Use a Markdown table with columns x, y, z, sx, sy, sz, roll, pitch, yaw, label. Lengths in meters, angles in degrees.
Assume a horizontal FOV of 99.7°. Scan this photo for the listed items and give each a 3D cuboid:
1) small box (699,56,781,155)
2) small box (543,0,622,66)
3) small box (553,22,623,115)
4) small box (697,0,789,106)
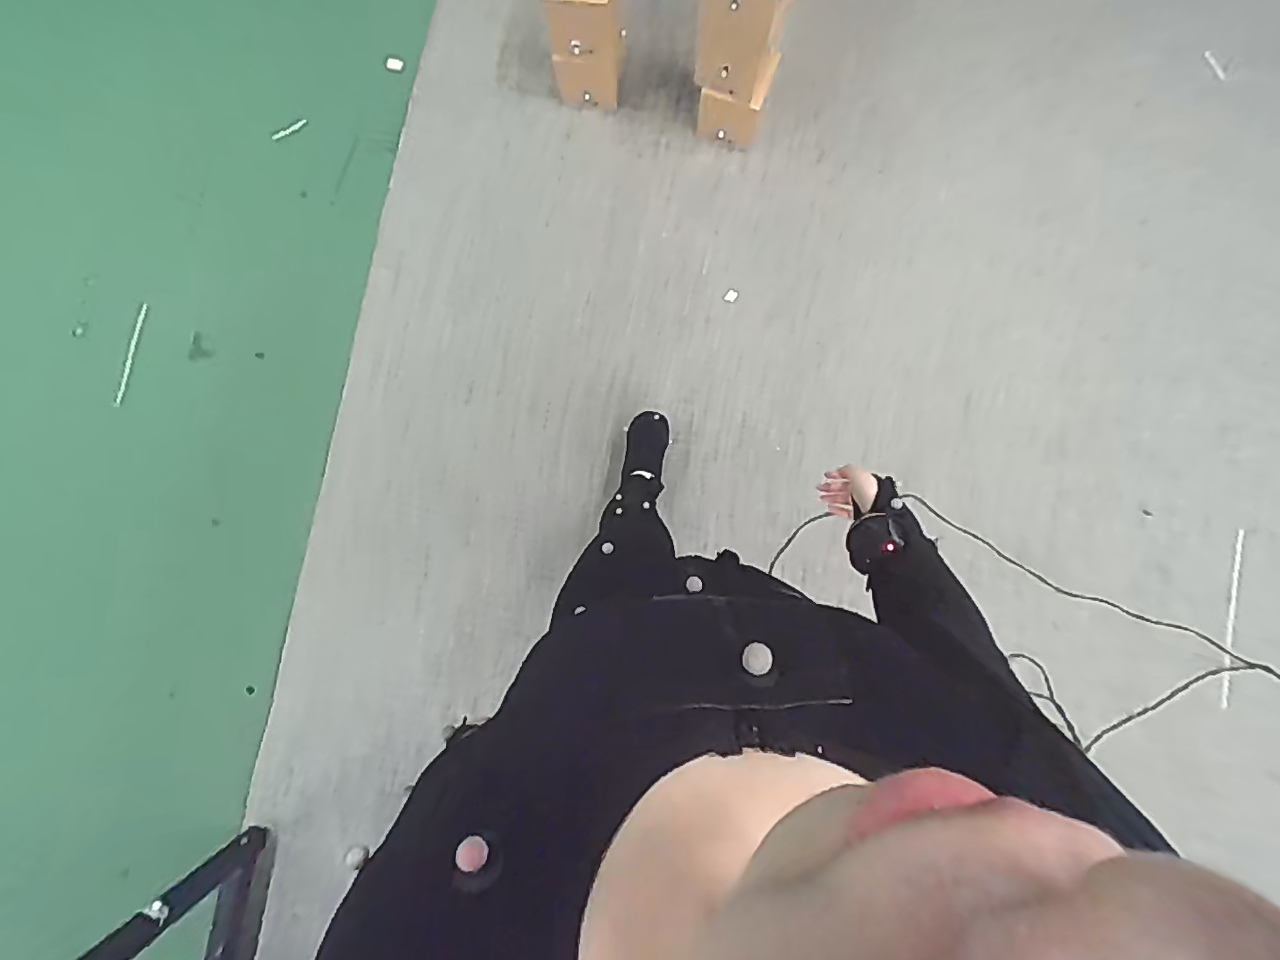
| x | y | z | sx | sy | sz | roll | pitch | yaw | label |
| --- | --- | --- | --- | --- | --- | --- | --- | --- | --- |
| 0.268 | -1.055 | 1.501 | 0.168 | 0.176 | 0.179 | 21 | 87 | 4 | small box |
| -0.138 | -1.199 | 1.362 | 0.168 | 0.176 | 0.179 | 7 | 86 | 4 | small box |
| -0.141 | -1.181 | 1.524 | 0.168 | 0.176 | 0.179 | 6 | 85 | 2 | small box |
| 0.248 | -1.084 | 1.340 | 0.168 | 0.176 | 0.179 | 25 | 87 | 4 | small box |
